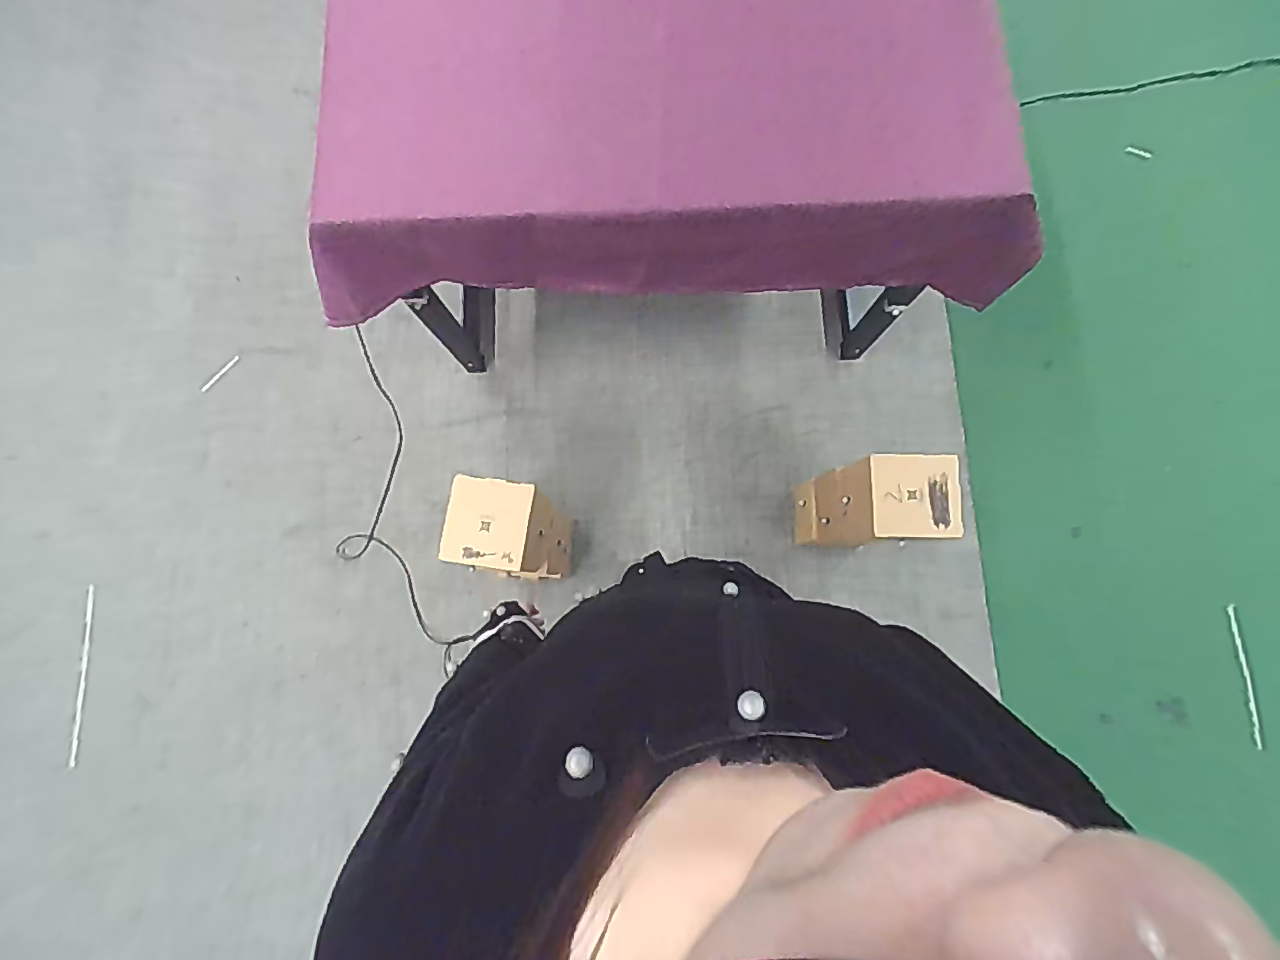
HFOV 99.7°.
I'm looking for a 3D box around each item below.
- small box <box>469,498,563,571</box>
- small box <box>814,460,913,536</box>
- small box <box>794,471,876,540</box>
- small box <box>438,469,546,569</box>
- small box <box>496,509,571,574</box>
[{"bbox_3d":[-0.290,0.129,1.298,0.179,0.176,0.168,4,81,1],"label":"small box"},{"bbox_3d":[0.528,0.049,1.304,0.179,0.176,0.168,-1,81,-1],"label":"small box"},{"bbox_3d":[0.521,0.074,1.464,0.179,0.176,0.168,2,81,0],"label":"small box"},{"bbox_3d":[-0.300,0.089,1.138,0.168,0.176,0.179,8,80,2],"label":"small box"},{"bbox_3d":[-0.281,0.164,1.459,0.168,0.176,0.179,1,80,1],"label":"small box"}]
